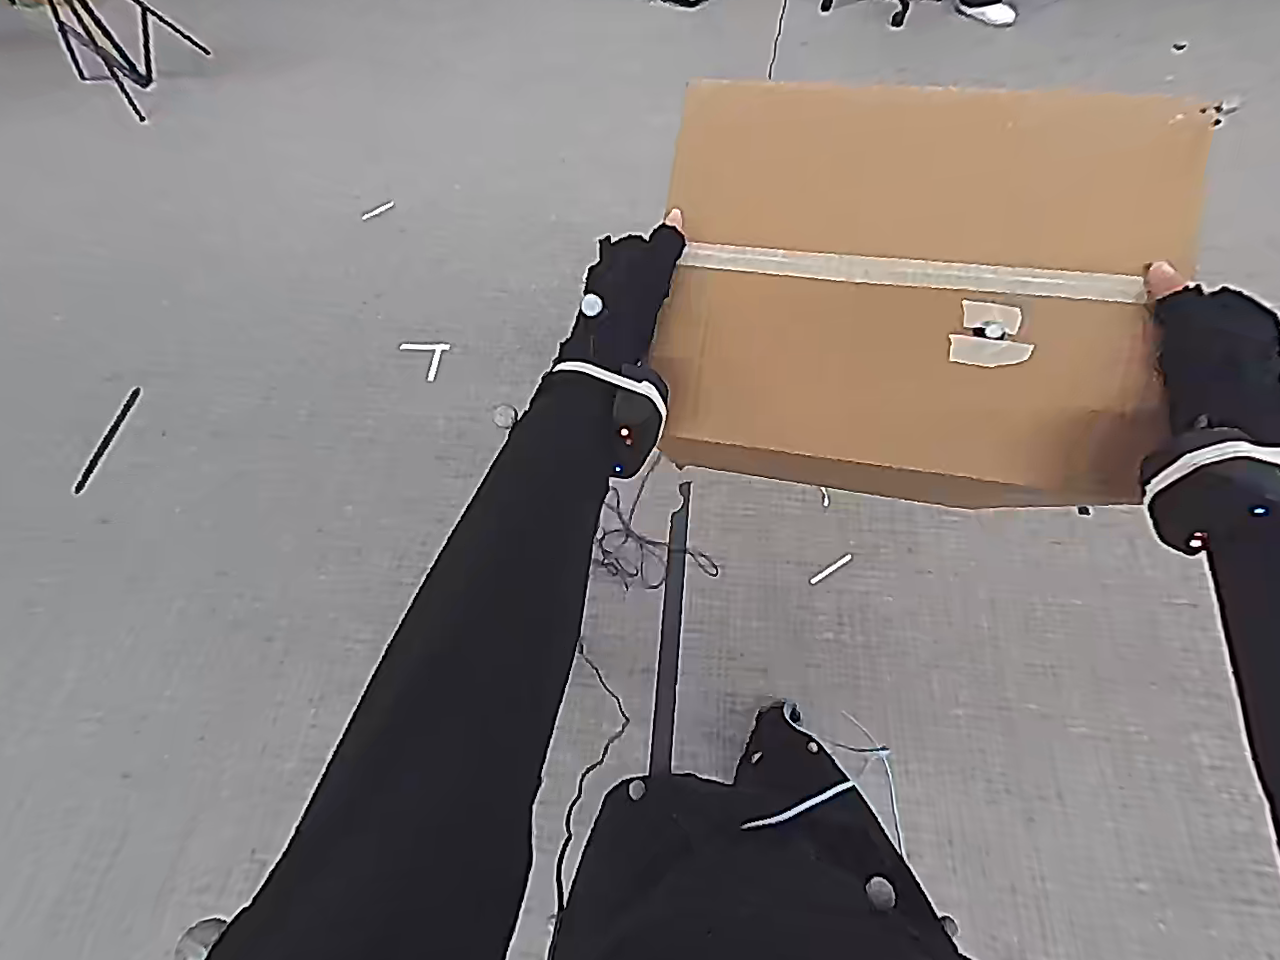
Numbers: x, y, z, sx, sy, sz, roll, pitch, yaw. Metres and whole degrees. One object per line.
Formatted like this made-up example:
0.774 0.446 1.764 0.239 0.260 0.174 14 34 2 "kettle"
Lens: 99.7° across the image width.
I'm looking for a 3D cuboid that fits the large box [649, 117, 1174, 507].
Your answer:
0.240 -0.149 0.609 0.408 0.320 0.320 8 89 9 "large box"
